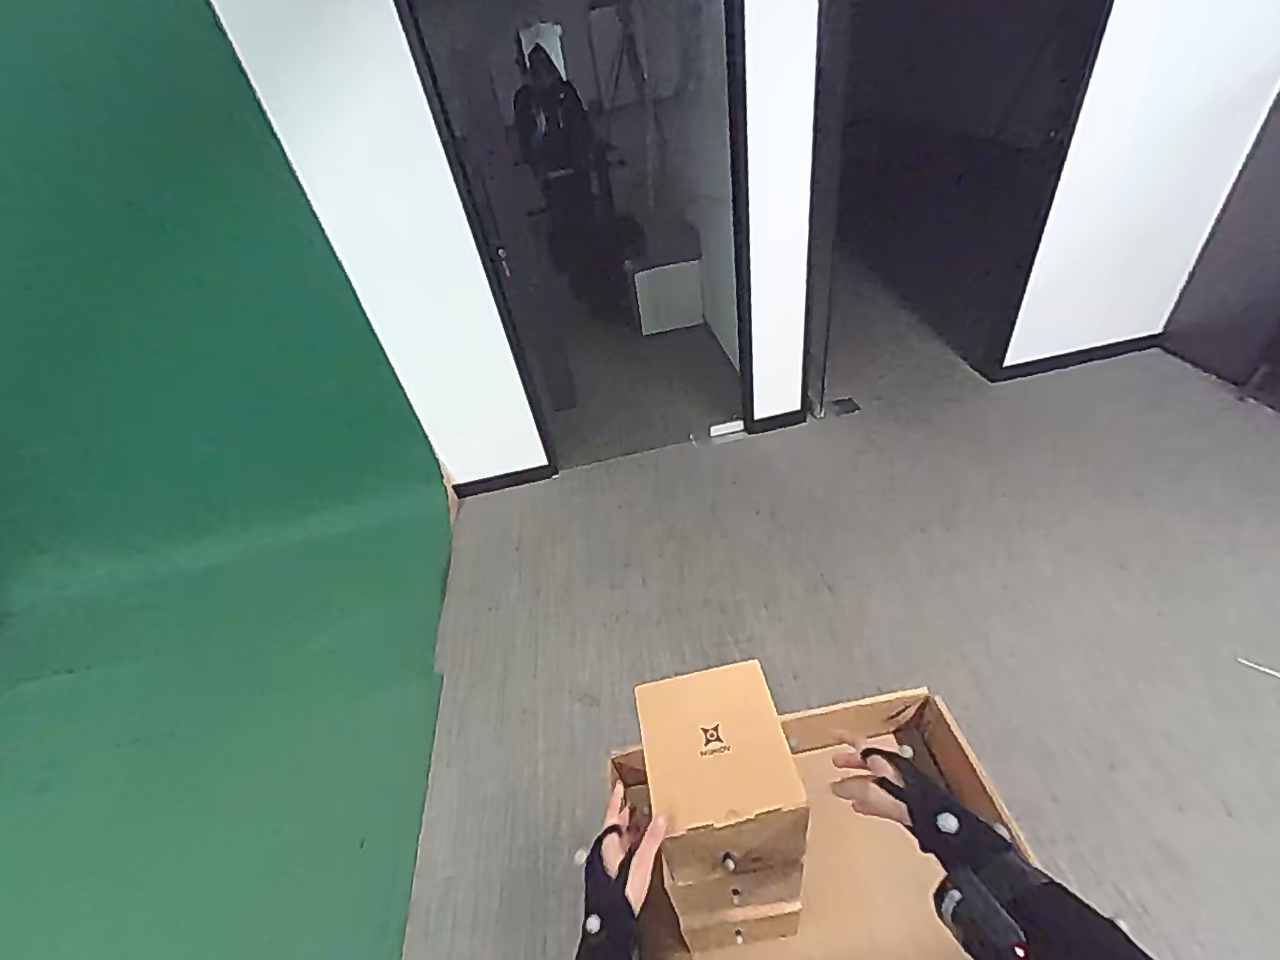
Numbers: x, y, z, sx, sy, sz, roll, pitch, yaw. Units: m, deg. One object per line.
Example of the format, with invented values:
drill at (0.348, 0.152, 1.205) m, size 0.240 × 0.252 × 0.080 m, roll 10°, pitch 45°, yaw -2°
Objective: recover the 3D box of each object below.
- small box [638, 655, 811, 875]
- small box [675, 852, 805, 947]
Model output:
small box at (0.099, 0.355, 0.677) m, size 0.168 × 0.176 × 0.179 m, roll -13°, pitch 40°, yaw -1°
small box at (0.150, 0.617, 0.865) m, size 0.179 × 0.176 × 0.168 m, roll -11°, pitch 39°, yaw 1°
